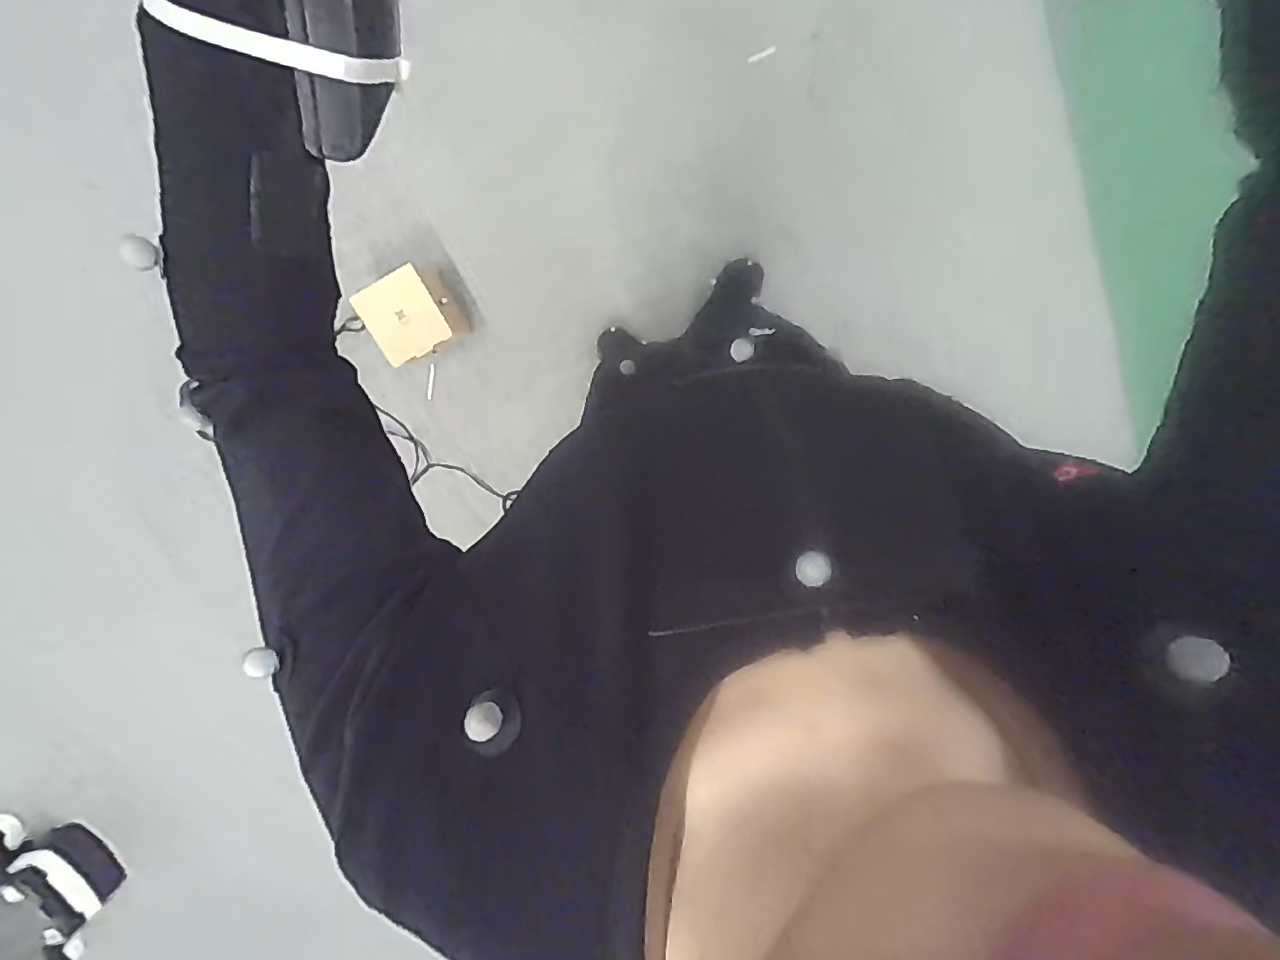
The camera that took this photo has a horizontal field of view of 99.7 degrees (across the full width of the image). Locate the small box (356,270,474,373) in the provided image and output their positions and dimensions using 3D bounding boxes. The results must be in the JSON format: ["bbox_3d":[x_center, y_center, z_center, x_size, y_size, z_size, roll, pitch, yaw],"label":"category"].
[{"bbox_3d":[-0.525,-0.374,1.289,0.168,0.176,0.179,-27,106,7],"label":"small box"}]
